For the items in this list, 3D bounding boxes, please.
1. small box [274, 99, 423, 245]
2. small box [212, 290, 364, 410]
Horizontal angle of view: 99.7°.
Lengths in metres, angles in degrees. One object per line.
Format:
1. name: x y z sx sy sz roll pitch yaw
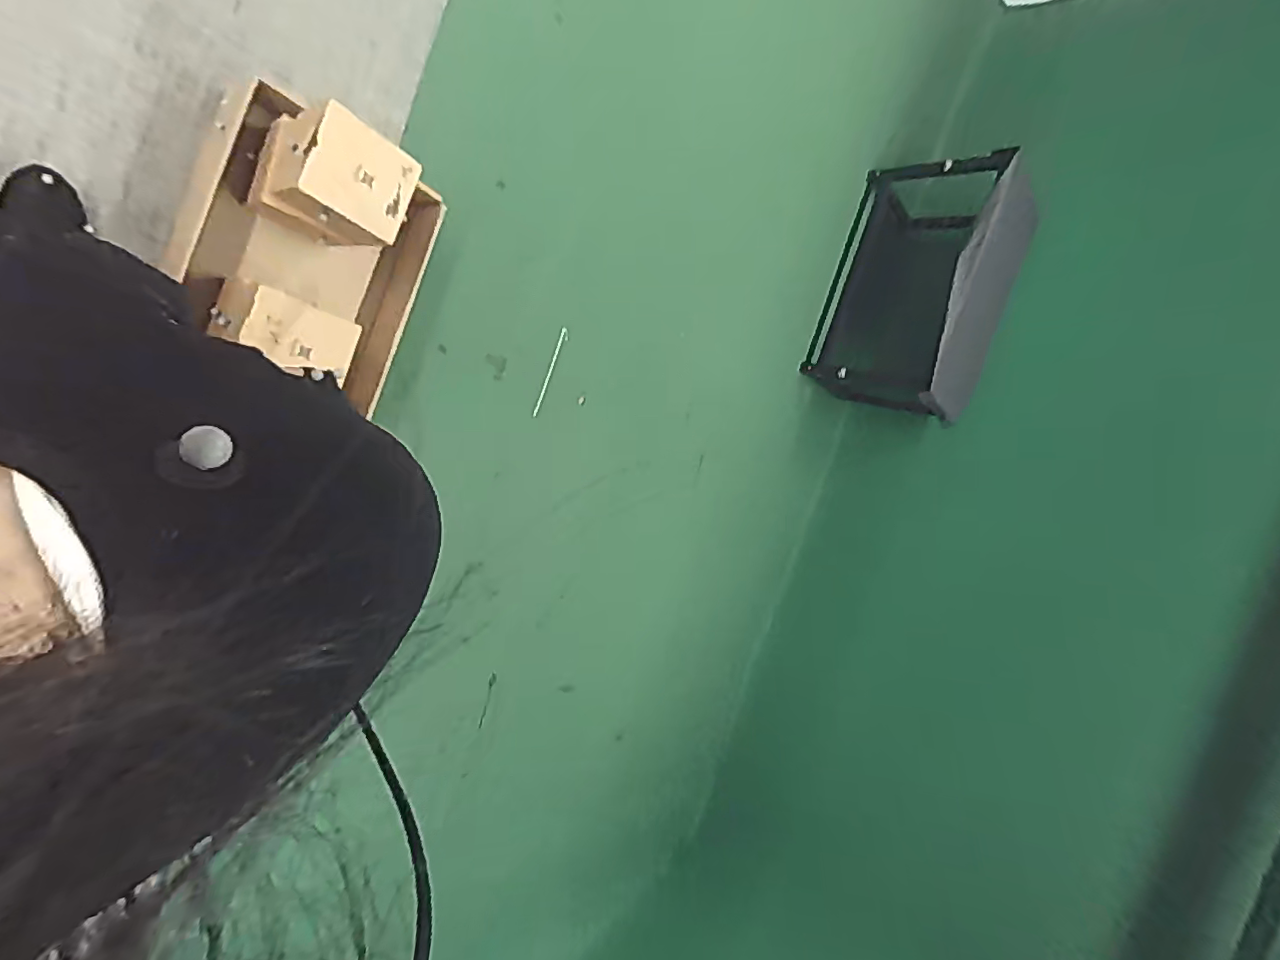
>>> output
1. small box: -0.548 -0.558 1.013 0.179 0.176 0.168 22 89 -49
2. small box: -0.663 -0.247 1.017 0.179 0.176 0.168 19 90 -49
